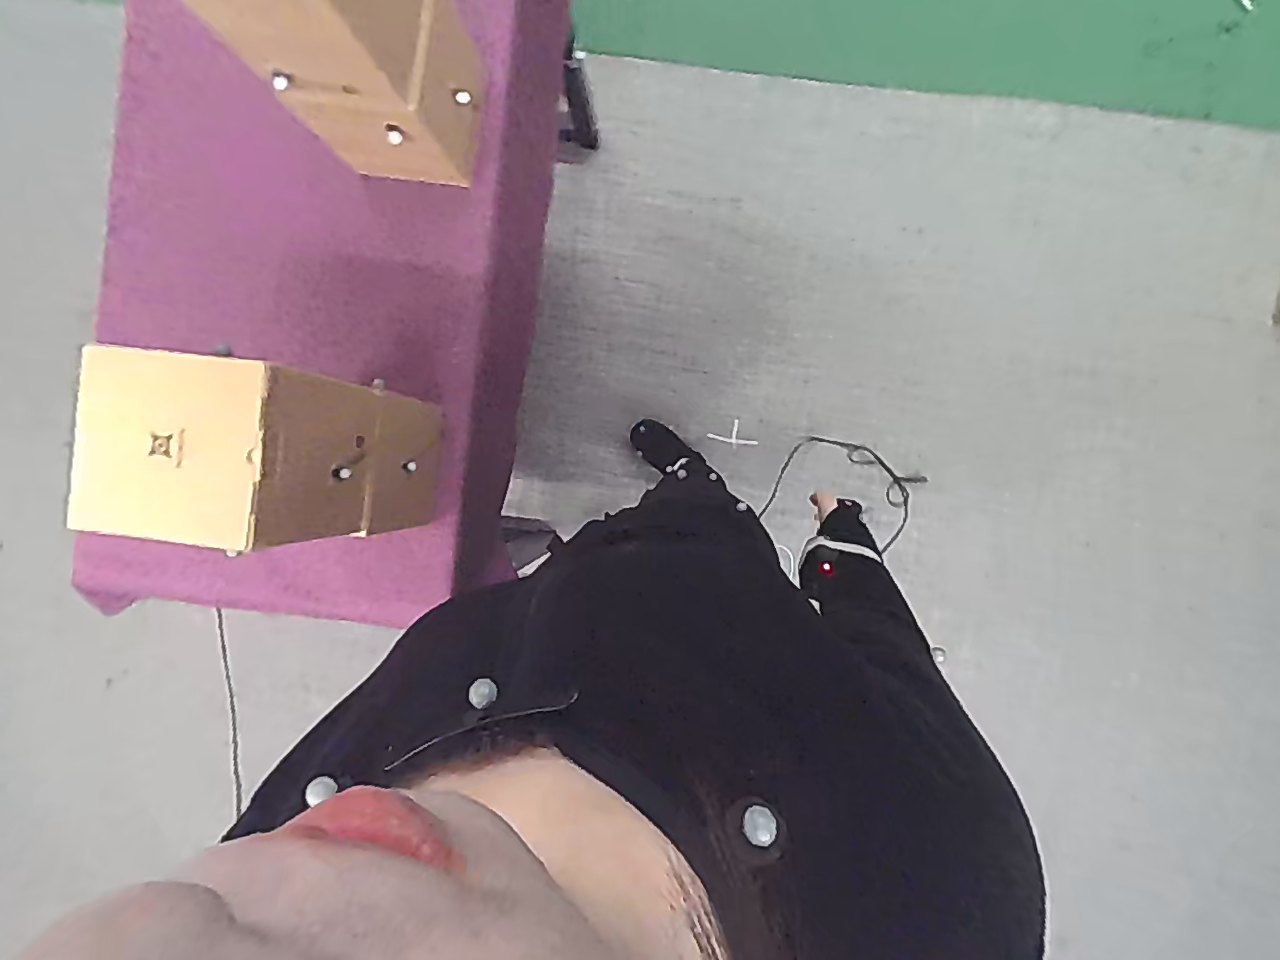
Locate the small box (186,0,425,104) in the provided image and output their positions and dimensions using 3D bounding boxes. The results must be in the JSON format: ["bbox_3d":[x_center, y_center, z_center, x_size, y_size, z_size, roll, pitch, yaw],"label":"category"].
[{"bbox_3d":[-0.337,-0.523,0.544,0.168,0.176,0.179,10,90,3],"label":"small box"}]

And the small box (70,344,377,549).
[{"bbox_3d":[-0.404,-0.030,0.553,0.179,0.176,0.168,6,91,3],"label":"small box"}]

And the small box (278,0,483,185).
[{"bbox_3d":[-0.323,-0.516,0.708,0.179,0.176,0.168,9,91,4],"label":"small box"}]
